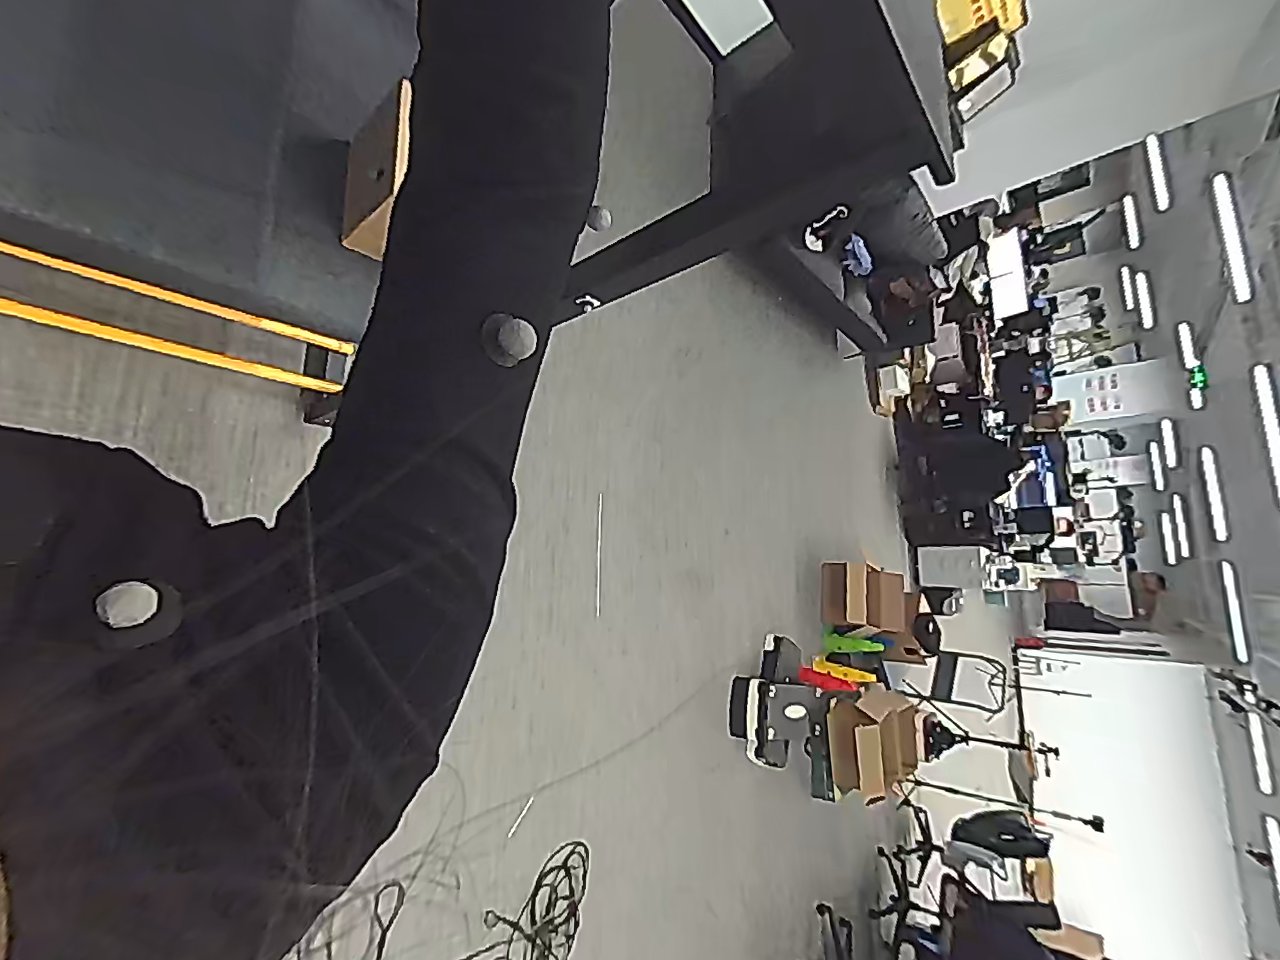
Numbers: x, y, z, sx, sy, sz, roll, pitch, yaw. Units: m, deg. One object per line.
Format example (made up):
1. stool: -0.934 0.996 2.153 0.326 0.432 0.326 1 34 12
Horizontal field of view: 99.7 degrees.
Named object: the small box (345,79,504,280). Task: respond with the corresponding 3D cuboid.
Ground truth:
1. small box: -0.327 -0.434 0.819 0.168 0.176 0.179 10 76 -49
